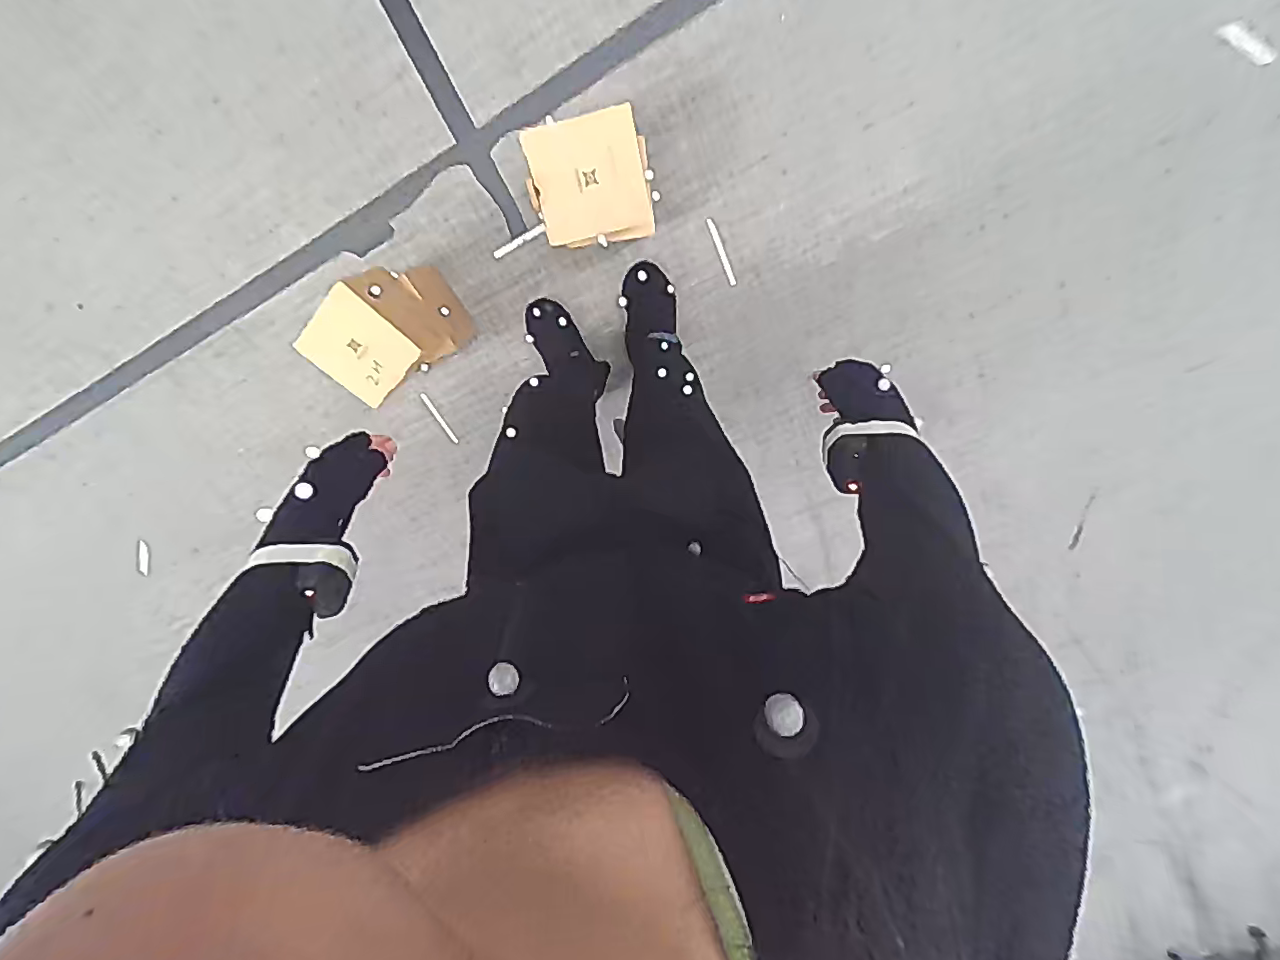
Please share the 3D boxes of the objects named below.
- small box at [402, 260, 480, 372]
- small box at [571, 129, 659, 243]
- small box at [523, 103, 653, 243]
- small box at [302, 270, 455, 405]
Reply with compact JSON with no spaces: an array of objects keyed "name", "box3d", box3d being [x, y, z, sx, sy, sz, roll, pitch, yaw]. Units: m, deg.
[{"name":"small box","box3d":[-0.485,-0.360,1.198,0.168,0.176,0.179,-24,116,15]},{"name":"small box","box3d":[-0.060,-0.574,1.066,0.179,0.176,0.168,-9,119,5]},{"name":"small box","box3d":[-0.077,-0.512,0.912,0.179,0.176,0.168,-11,120,6]},{"name":"small box","box3d":[-0.498,-0.285,1.052,0.168,0.176,0.179,-36,116,21]}]
